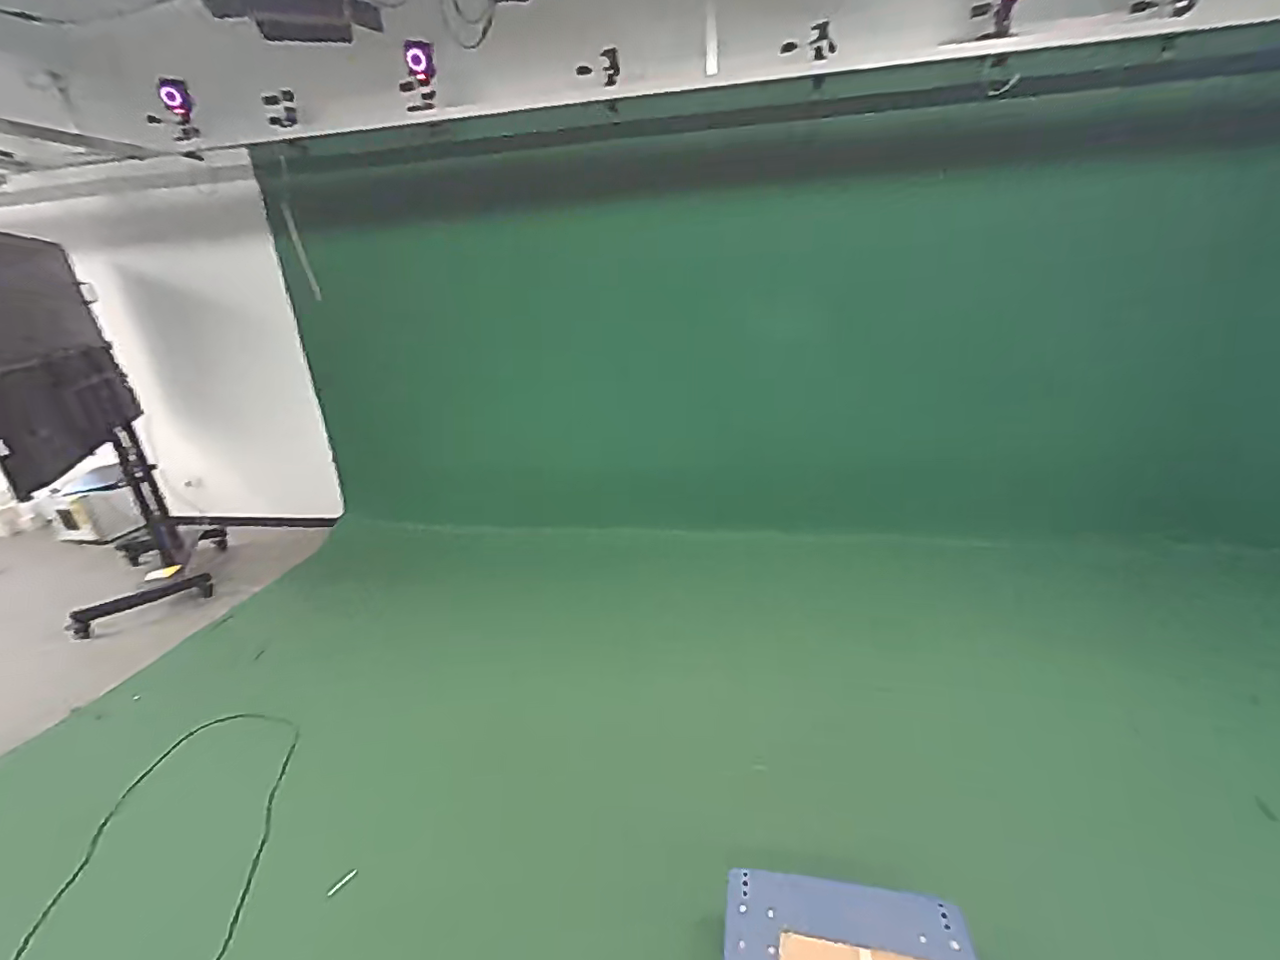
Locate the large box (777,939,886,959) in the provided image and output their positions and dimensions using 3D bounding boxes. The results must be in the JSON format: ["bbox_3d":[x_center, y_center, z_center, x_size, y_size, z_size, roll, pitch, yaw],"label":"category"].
[{"bbox_3d":[0.385,1.108,0.892,0.320,0.320,0.408,2,20,15],"label":"large box"}]
